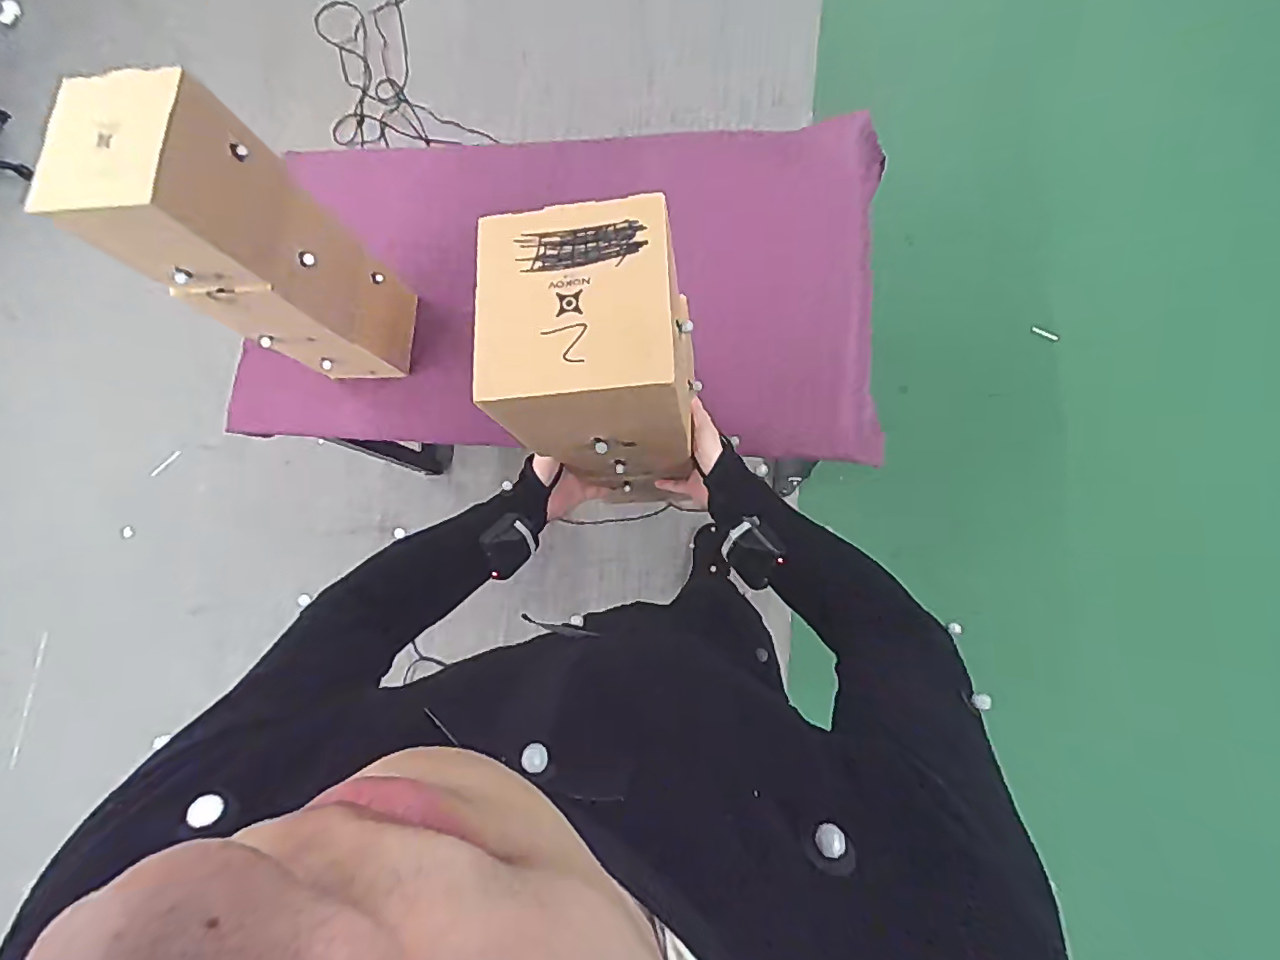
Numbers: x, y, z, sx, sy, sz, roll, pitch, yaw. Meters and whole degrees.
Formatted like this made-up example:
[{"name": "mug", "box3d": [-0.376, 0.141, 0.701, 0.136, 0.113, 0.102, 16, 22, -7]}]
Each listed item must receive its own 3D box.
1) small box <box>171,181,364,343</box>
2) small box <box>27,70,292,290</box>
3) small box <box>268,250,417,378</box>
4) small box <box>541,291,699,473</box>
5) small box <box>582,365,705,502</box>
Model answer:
[{"name": "small box", "box3d": [-0.556, -0.322, 0.832, 0.168, 0.176, 0.179, 2, 79, 9]}, {"name": "small box", "box3d": [-0.576, -0.360, 0.675, 0.168, 0.176, 0.179, 2, 80, 9]}, {"name": "small box", "box3d": [-0.533, -0.293, 0.993, 0.168, 0.176, 0.179, 1, 79, 9]}, {"name": "small box", "box3d": [-0.013, -0.109, 0.675, 0.168, 0.176, 0.179, -1, 76, 9]}, {"name": "small box", "box3d": [0.013, -0.069, 0.835, 0.168, 0.176, 0.179, -2, 77, 9]}]
